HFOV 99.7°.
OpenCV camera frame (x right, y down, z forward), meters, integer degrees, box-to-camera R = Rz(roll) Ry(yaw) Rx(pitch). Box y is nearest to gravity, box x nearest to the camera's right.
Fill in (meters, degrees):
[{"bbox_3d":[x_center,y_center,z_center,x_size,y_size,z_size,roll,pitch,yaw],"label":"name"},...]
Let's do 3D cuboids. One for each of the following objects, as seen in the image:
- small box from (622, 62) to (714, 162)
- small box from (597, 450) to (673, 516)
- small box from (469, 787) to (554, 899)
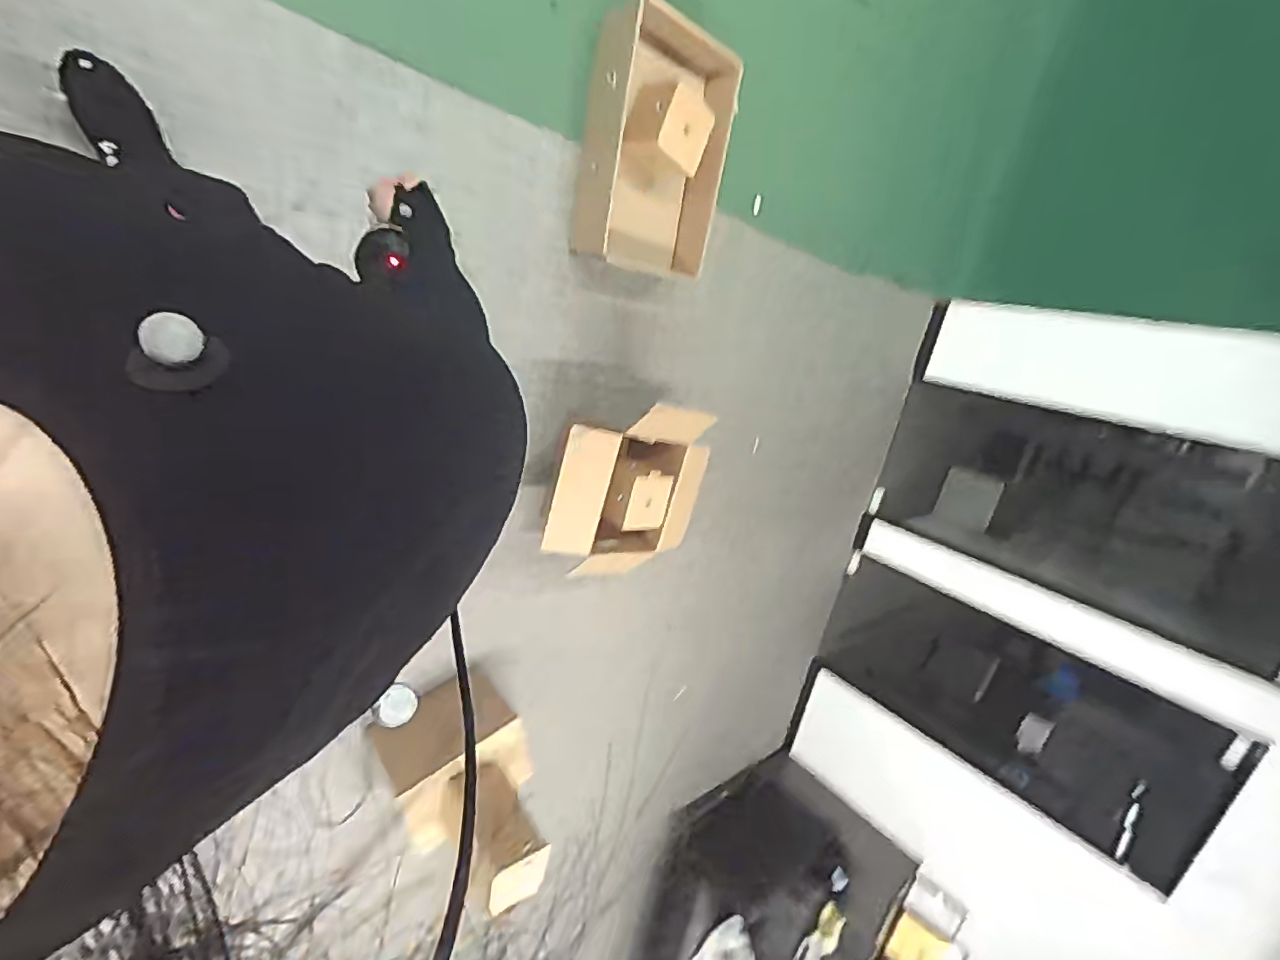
[{"bbox_3d":[0.072,-1.029,1.532,0.168,0.176,0.179,11,104,-46],"label":"small box"},{"bbox_3d":[-0.021,0.005,1.777,0.168,0.176,0.179,0,111,-41],"label":"small box"},{"bbox_3d":[-0.376,1.037,1.560,0.168,0.176,0.179,-2,114,-43],"label":"small box"}]
